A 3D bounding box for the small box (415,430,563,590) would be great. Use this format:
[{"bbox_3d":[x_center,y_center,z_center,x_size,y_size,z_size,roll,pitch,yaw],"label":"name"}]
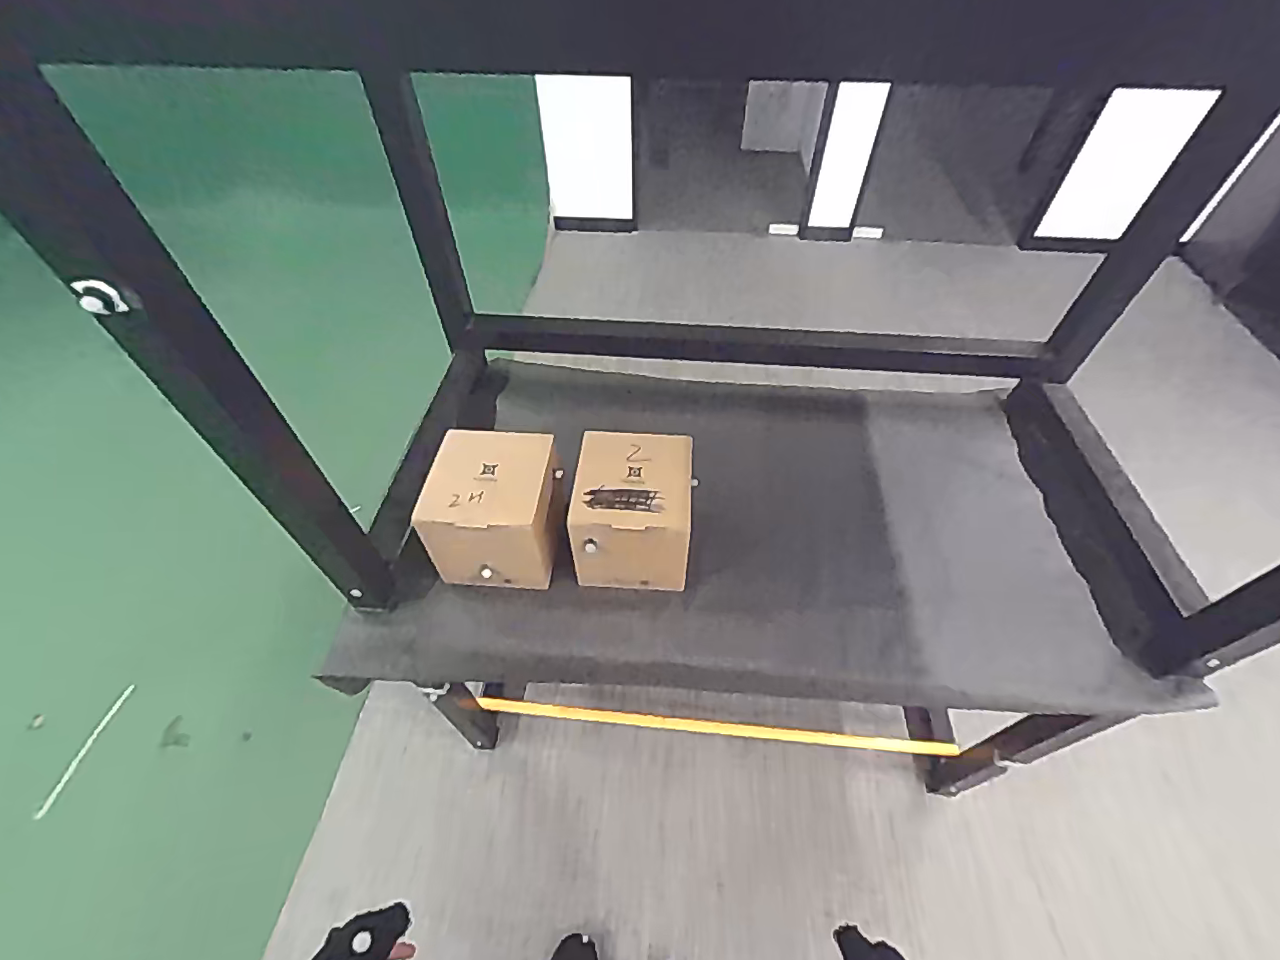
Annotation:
[{"bbox_3d":[-0.215,0.046,0.829,0.168,0.176,0.179,3,50,2],"label":"small box"}]
